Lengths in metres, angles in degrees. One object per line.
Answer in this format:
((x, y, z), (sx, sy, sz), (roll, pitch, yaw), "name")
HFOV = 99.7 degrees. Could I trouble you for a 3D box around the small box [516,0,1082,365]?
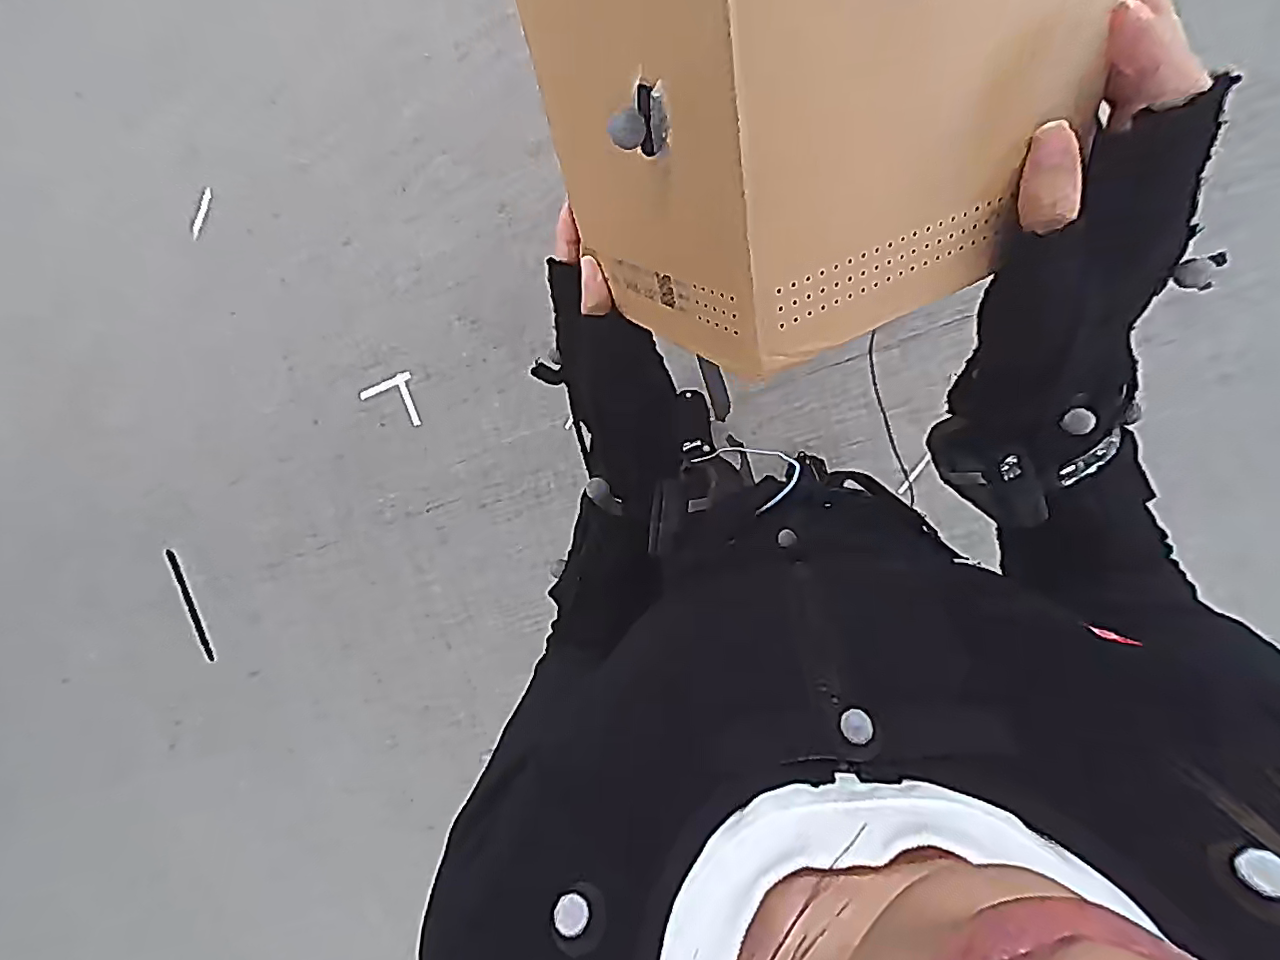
((0.065, -0.172, 0.246), (0.179, 0.168, 0.176), (-25, 127, -14), "small box")
